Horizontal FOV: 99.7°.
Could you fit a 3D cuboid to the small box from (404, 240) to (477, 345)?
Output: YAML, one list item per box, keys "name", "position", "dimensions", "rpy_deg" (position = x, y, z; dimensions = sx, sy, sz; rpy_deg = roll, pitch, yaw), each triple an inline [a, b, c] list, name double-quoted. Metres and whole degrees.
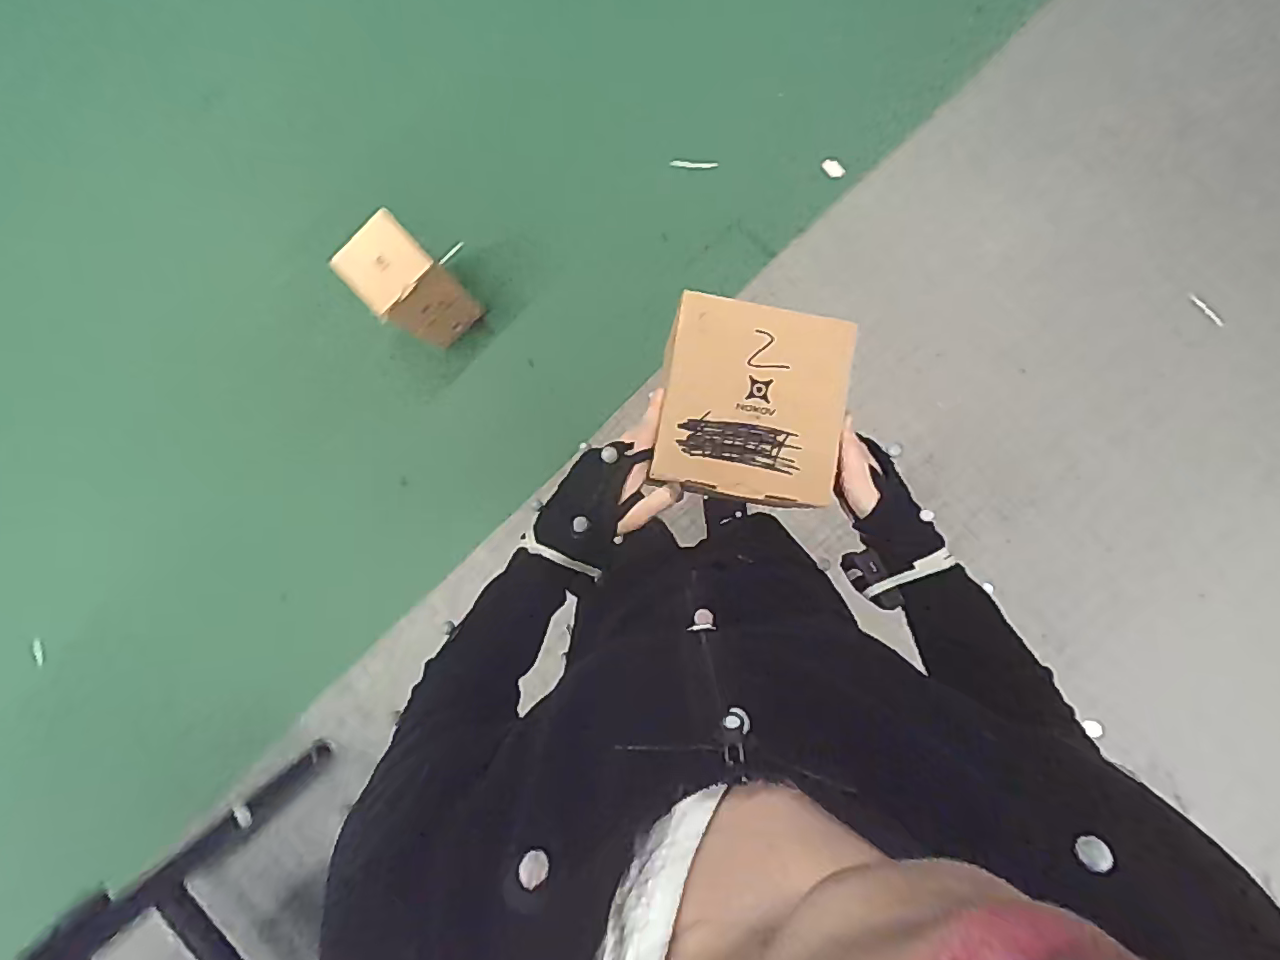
- name: "small box"
  position: [-0.564, -0.481, 1.419]
  dimensions: [0.168, 0.176, 0.179]
  rpy_deg: [-42, 89, 3]

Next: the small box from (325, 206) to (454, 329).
- name: "small box"
  position: [-0.572, -0.481, 1.257]
  dimensions: [0.168, 0.176, 0.179]
  rpy_deg: [-43, 89, 2]
